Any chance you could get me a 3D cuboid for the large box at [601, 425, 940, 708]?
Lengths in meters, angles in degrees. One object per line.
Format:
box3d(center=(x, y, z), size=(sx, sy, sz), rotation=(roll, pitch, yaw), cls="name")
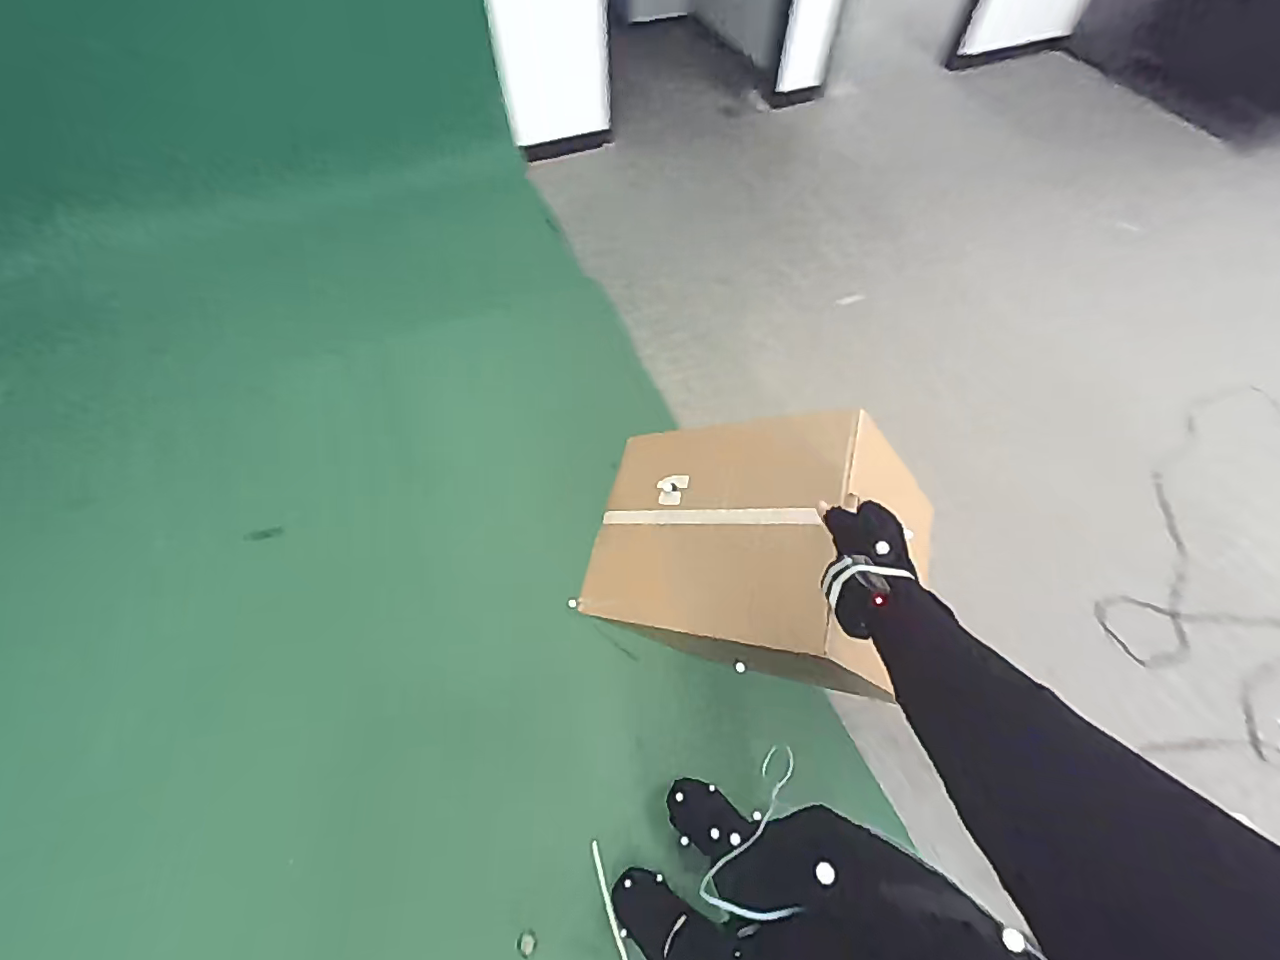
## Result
box3d(center=(0.215, 0.143, 0.866), size=(0.408, 0.320, 0.320), rotation=(-4, 59, 45), cls="large box")
